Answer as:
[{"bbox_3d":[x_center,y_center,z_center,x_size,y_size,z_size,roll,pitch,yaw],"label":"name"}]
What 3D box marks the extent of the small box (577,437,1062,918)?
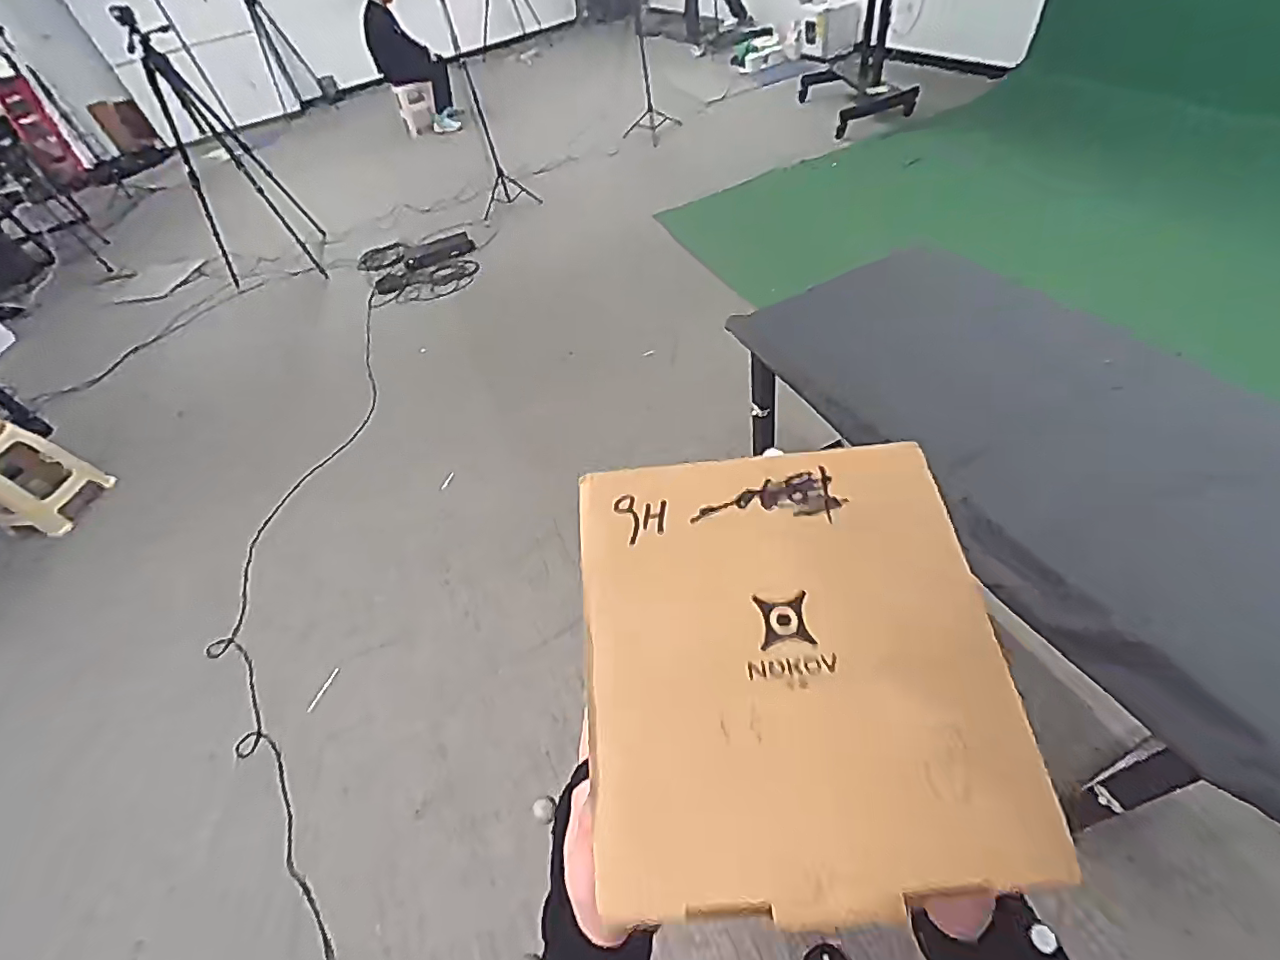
[{"bbox_3d":[0.059,0.098,0.290,0.168,0.176,0.179,-5,63,-2],"label":"small box"}]
